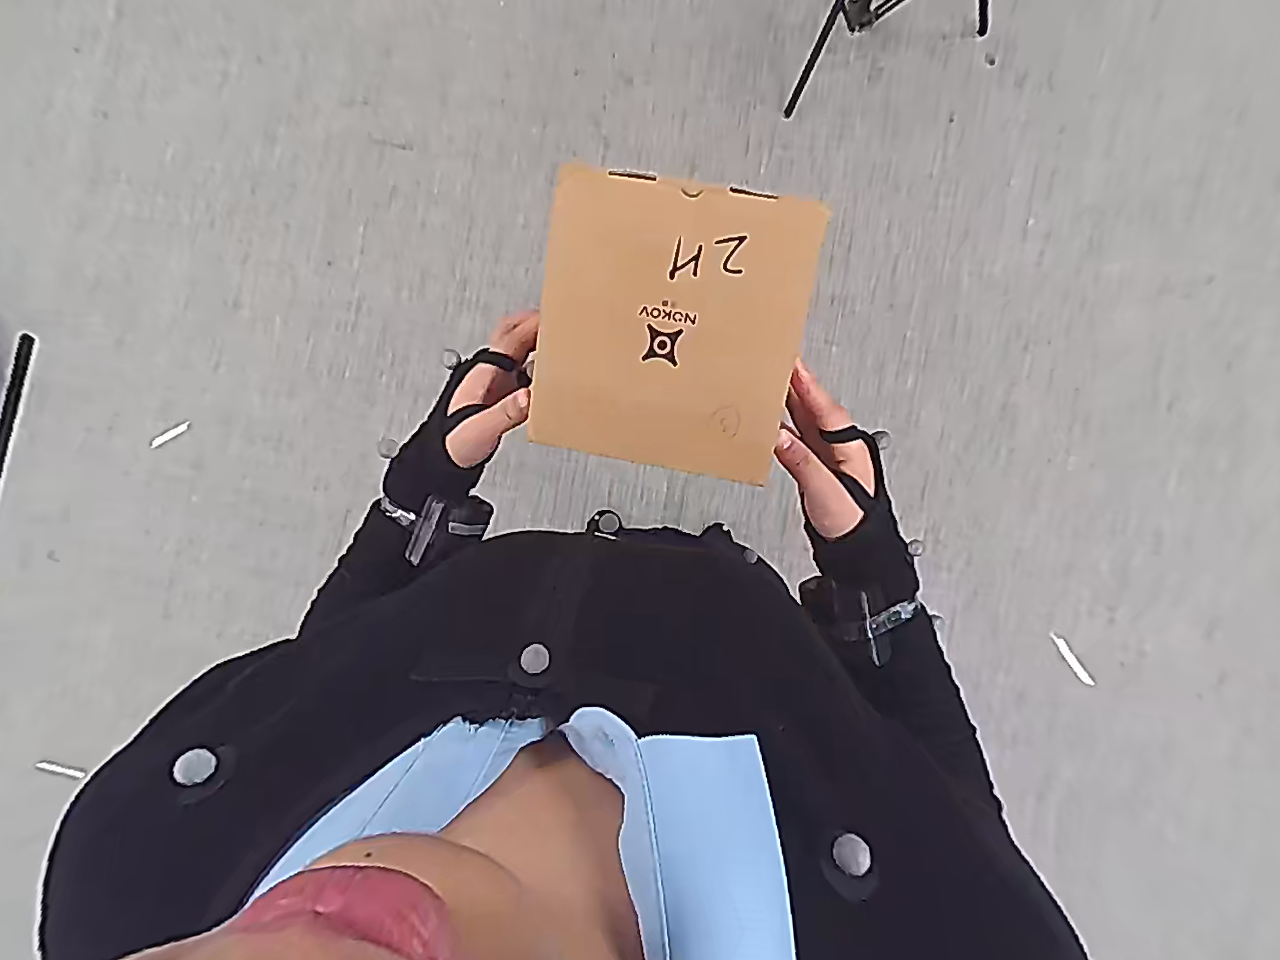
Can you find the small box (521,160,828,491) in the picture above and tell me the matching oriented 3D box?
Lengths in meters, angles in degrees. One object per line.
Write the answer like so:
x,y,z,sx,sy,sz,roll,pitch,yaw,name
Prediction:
0.024,-0.107,0.411,0.168,0.176,0.179,11,102,4,small box
